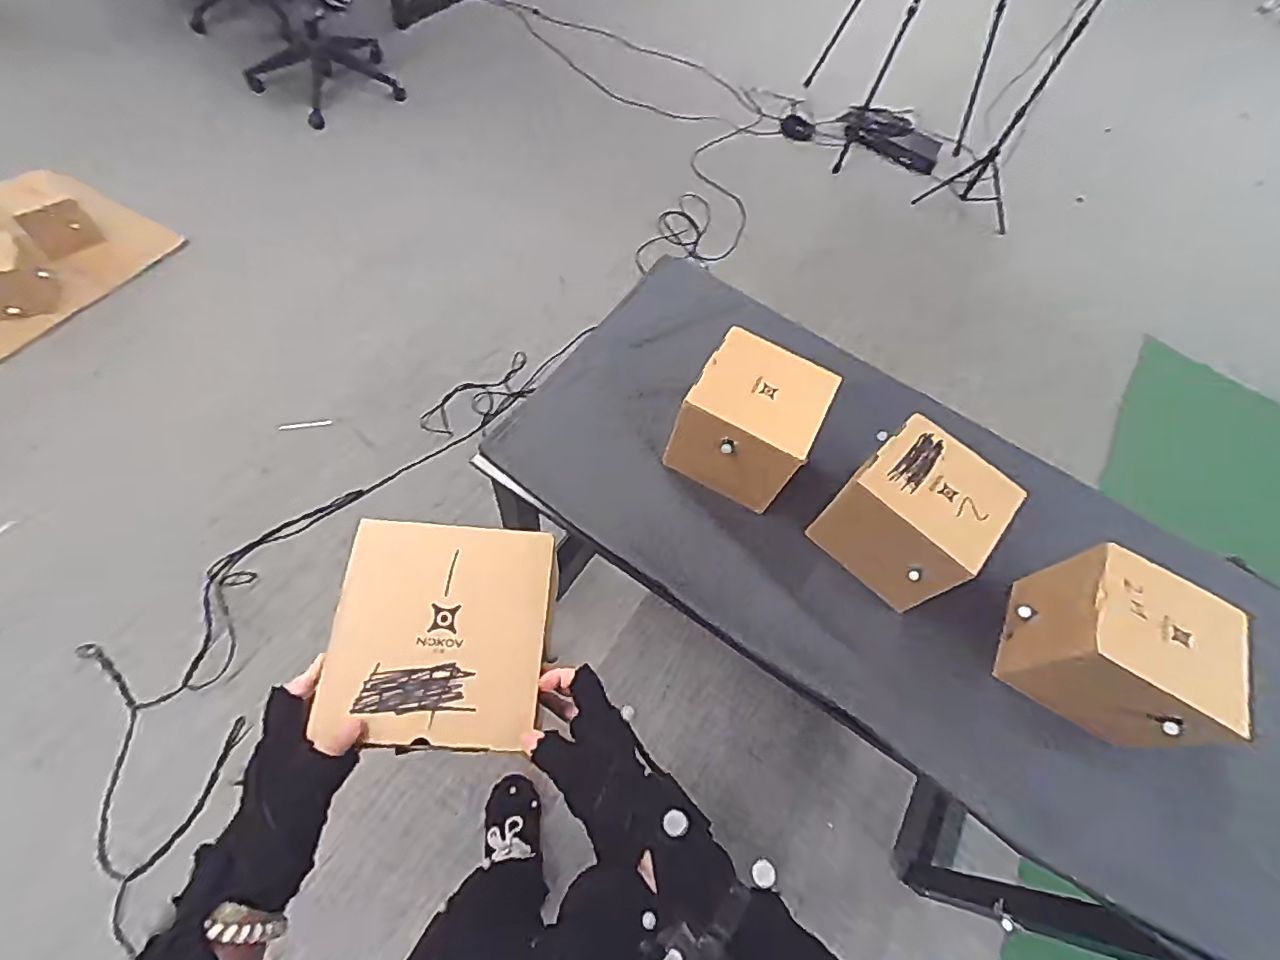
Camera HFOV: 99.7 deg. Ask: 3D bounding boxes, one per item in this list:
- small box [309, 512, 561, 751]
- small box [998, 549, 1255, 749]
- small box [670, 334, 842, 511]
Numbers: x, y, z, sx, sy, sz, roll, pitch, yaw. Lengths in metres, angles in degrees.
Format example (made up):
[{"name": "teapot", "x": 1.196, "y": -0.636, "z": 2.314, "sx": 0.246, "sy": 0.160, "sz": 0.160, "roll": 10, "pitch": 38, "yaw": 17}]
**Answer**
[{"name": "small box", "x": -0.166, "y": 0.145, "z": 0.506, "sx": 0.168, "sy": 0.176, "sz": 0.179, "roll": 6, "pitch": 67, "yaw": -5}, {"name": "small box", "x": 0.616, "y": 0.224, "z": 0.699, "sx": 0.179, "sy": 0.176, "sz": 0.168, "roll": 31, "pitch": 61, "yaw": 10}, {"name": "small box", "x": 0.164, "y": -0.075, "z": 0.808, "sx": 0.179, "sy": 0.176, "sz": 0.168, "roll": 28, "pitch": 61, "yaw": 8}]
